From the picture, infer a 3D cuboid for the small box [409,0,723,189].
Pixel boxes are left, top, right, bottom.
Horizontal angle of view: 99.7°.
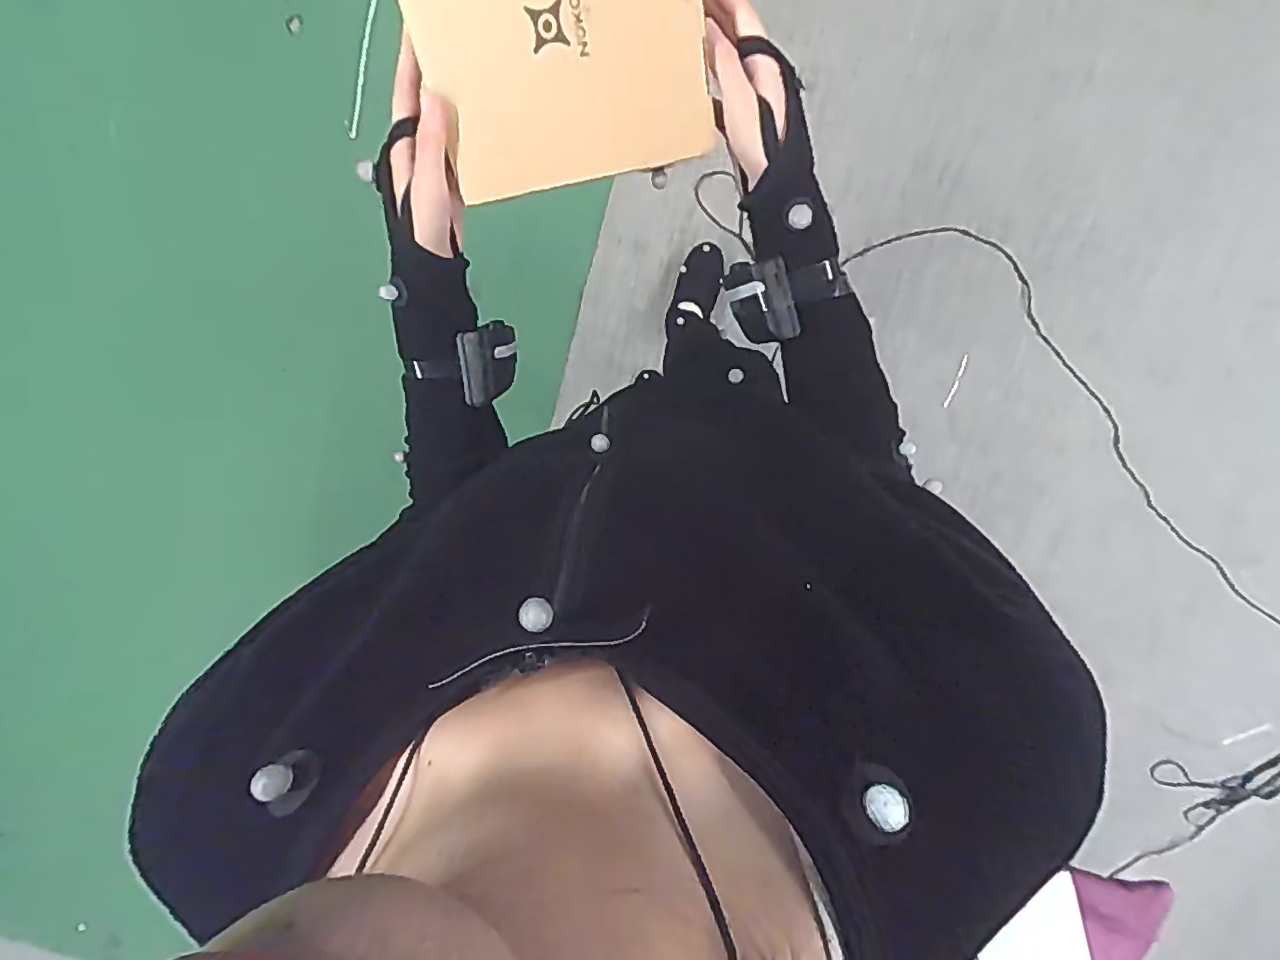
[{"bbox_3d":[-0.045,-0.312,0.381,0.179,0.176,0.168,-10,120,4],"label":"small box"}]
